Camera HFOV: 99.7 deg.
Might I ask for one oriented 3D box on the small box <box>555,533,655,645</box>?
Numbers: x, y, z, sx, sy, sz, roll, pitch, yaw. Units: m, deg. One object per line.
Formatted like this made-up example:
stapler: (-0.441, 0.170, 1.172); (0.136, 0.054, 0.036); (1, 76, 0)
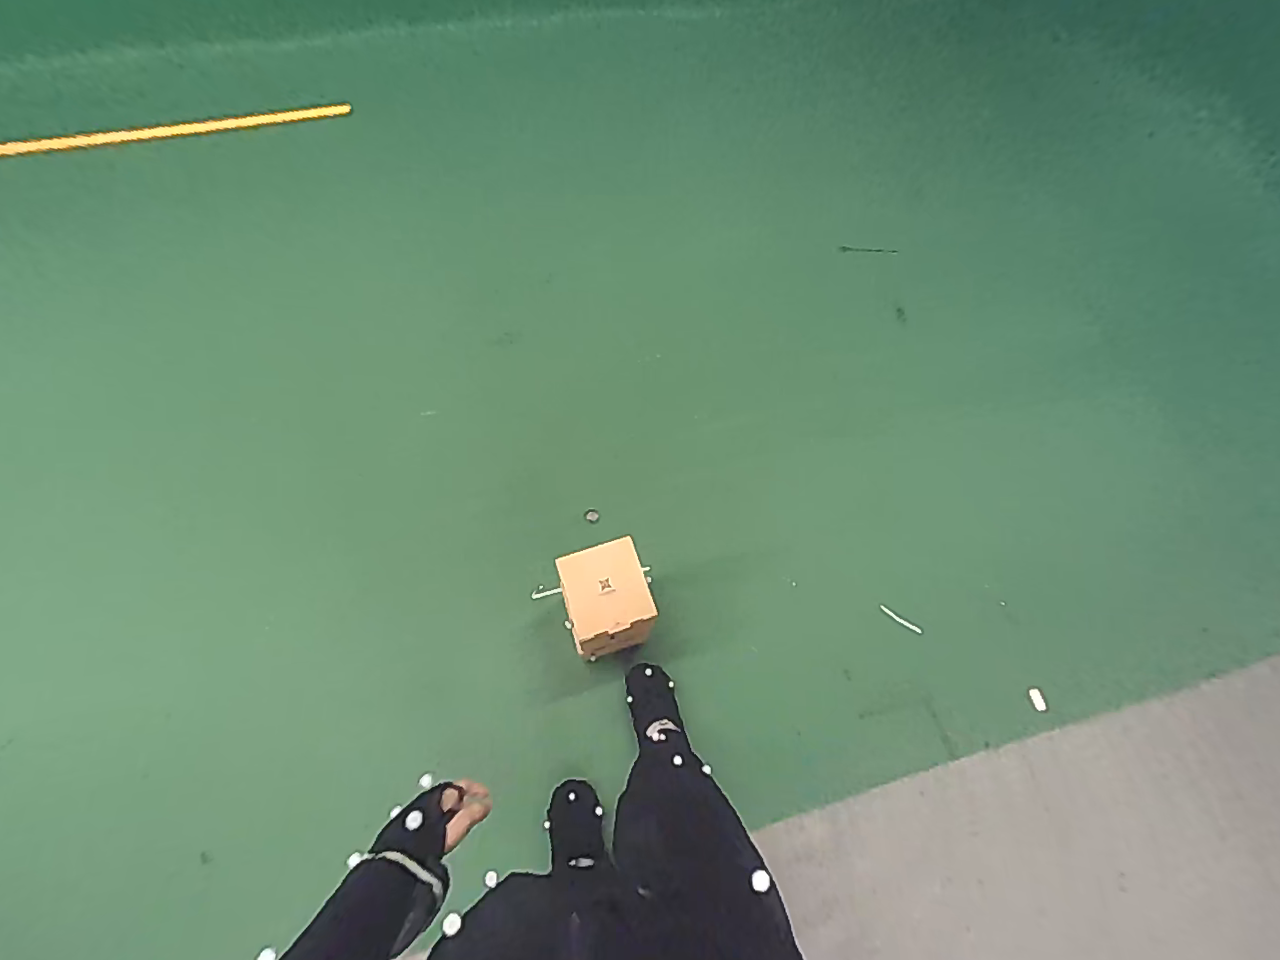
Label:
small box: (-0.080, 0.239, 1.162); (0.168, 0.176, 0.179); (-16, 69, -11)
